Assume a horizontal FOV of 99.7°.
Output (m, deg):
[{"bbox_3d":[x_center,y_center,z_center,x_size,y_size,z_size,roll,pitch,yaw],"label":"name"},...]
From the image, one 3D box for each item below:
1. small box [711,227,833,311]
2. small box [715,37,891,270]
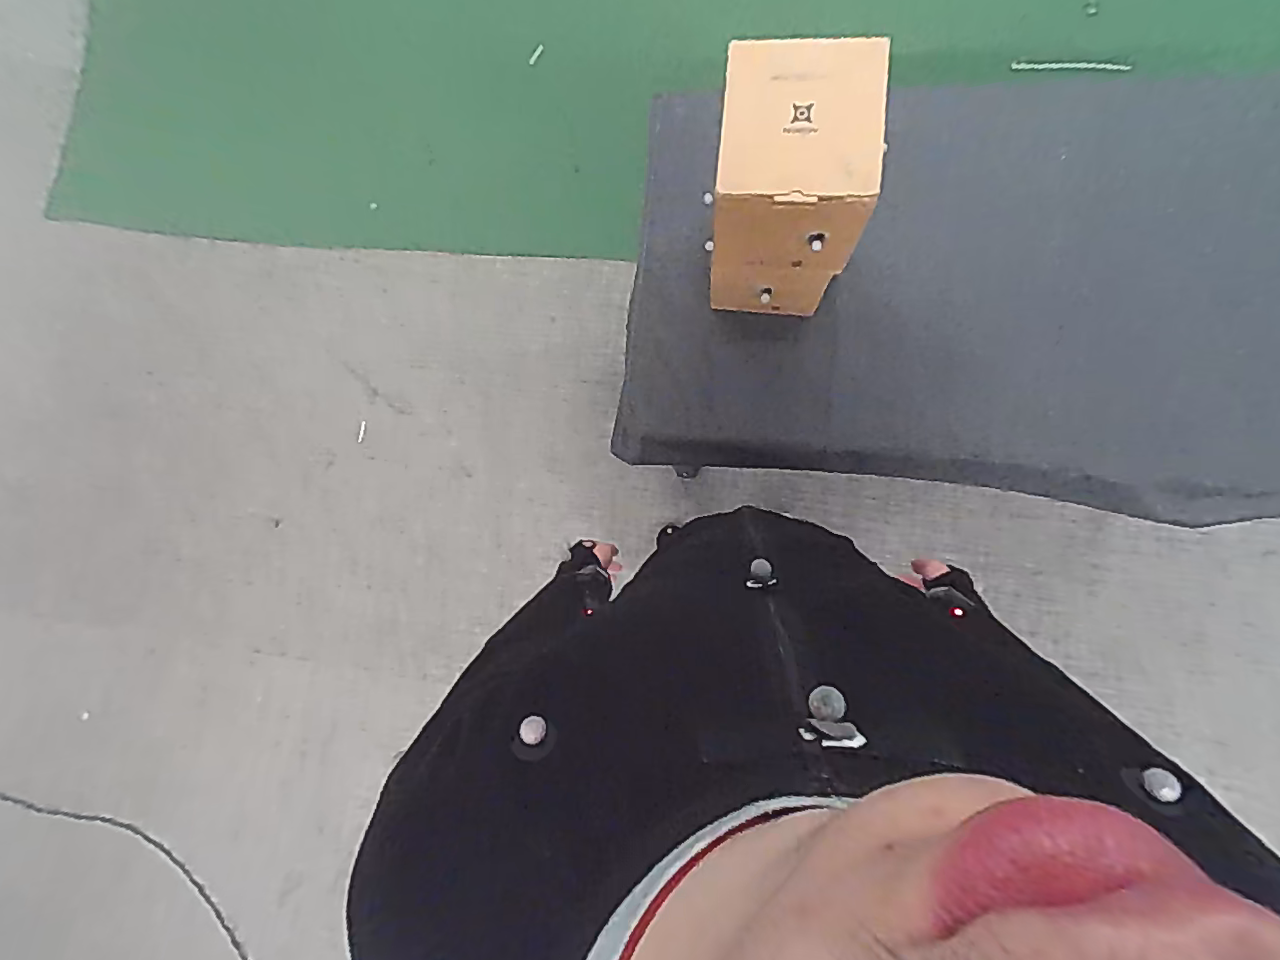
[{"bbox_3d":[0.198,-0.366,0.798,0.168,0.176,0.179,7,86,7],"label":"small box"},{"bbox_3d":[0.178,-0.367,0.636,0.168,0.176,0.179,5,84,6],"label":"small box"}]
